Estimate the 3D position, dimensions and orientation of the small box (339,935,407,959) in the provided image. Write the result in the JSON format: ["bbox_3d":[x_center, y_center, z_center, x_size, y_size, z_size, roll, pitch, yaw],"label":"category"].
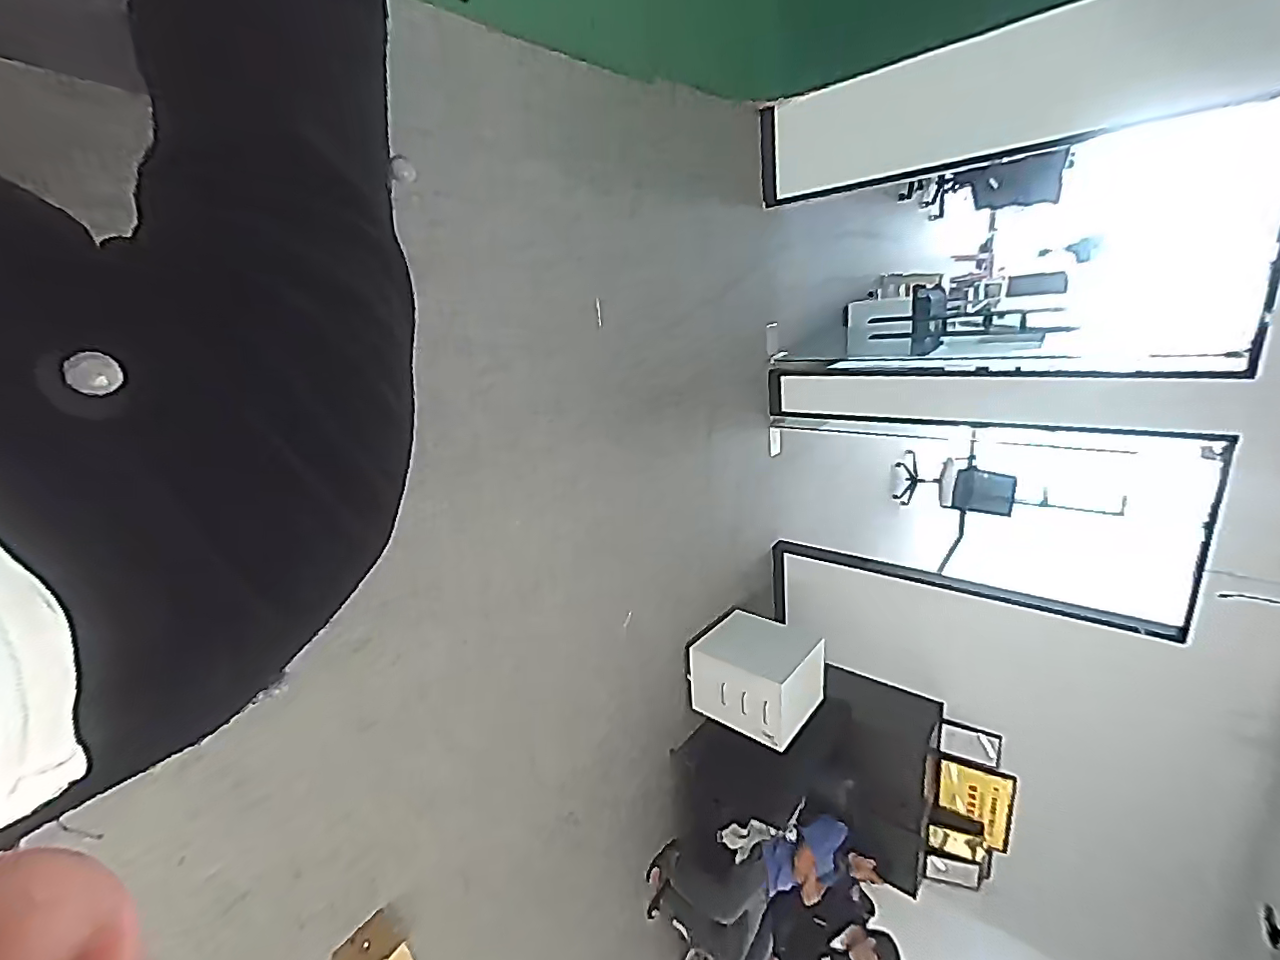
[{"bbox_3d":[-0.852,1.558,1.674,0.179,0.176,0.168,-60,139,-26],"label":"small box"}]
